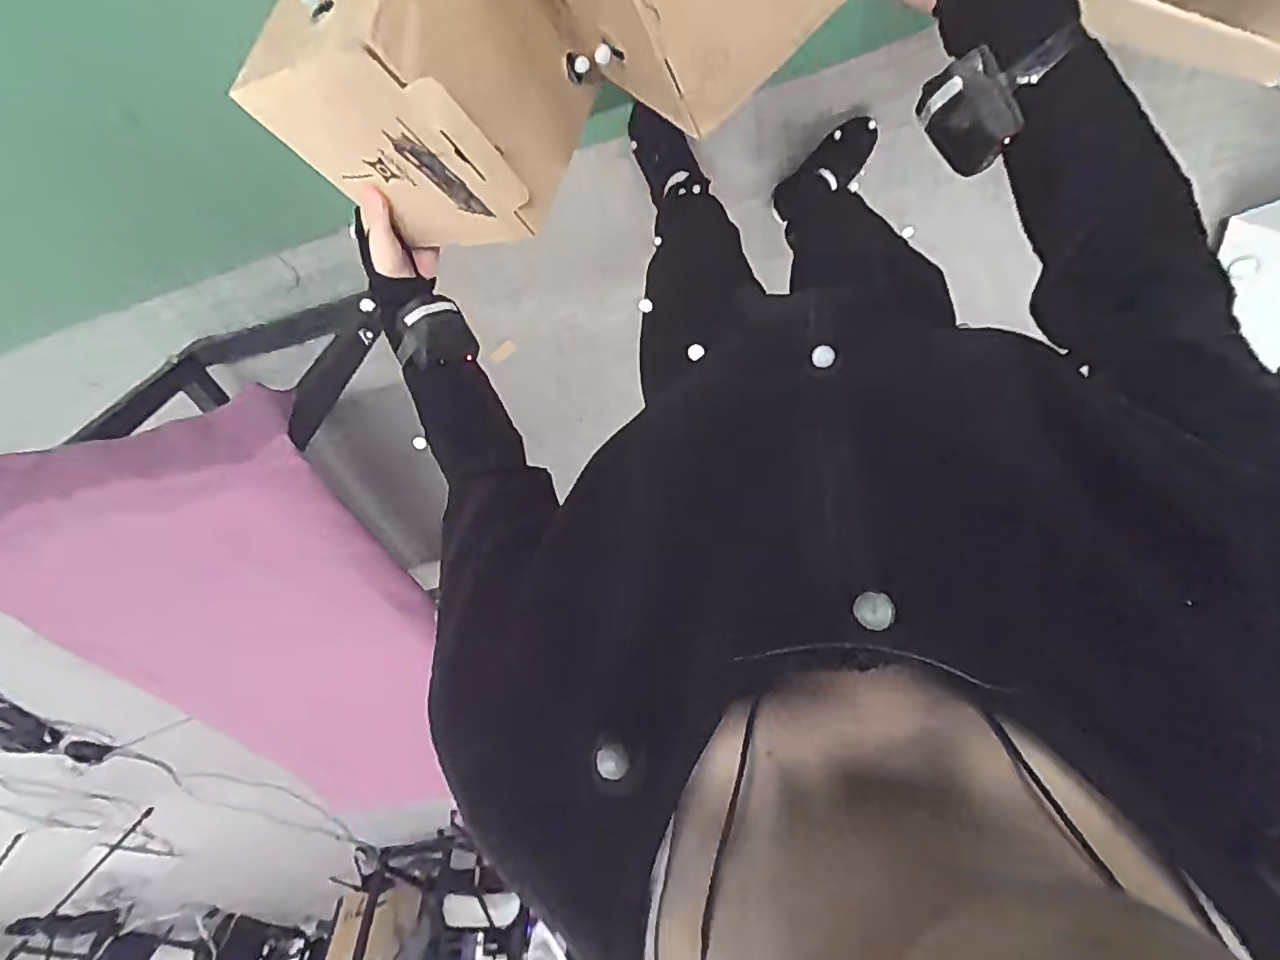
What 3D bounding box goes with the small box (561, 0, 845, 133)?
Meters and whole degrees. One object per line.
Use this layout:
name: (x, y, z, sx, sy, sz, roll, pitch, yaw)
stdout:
small box: (0.027, -0.365, 0.322, 0.179, 0.176, 0.168, -42, 149, 9)
